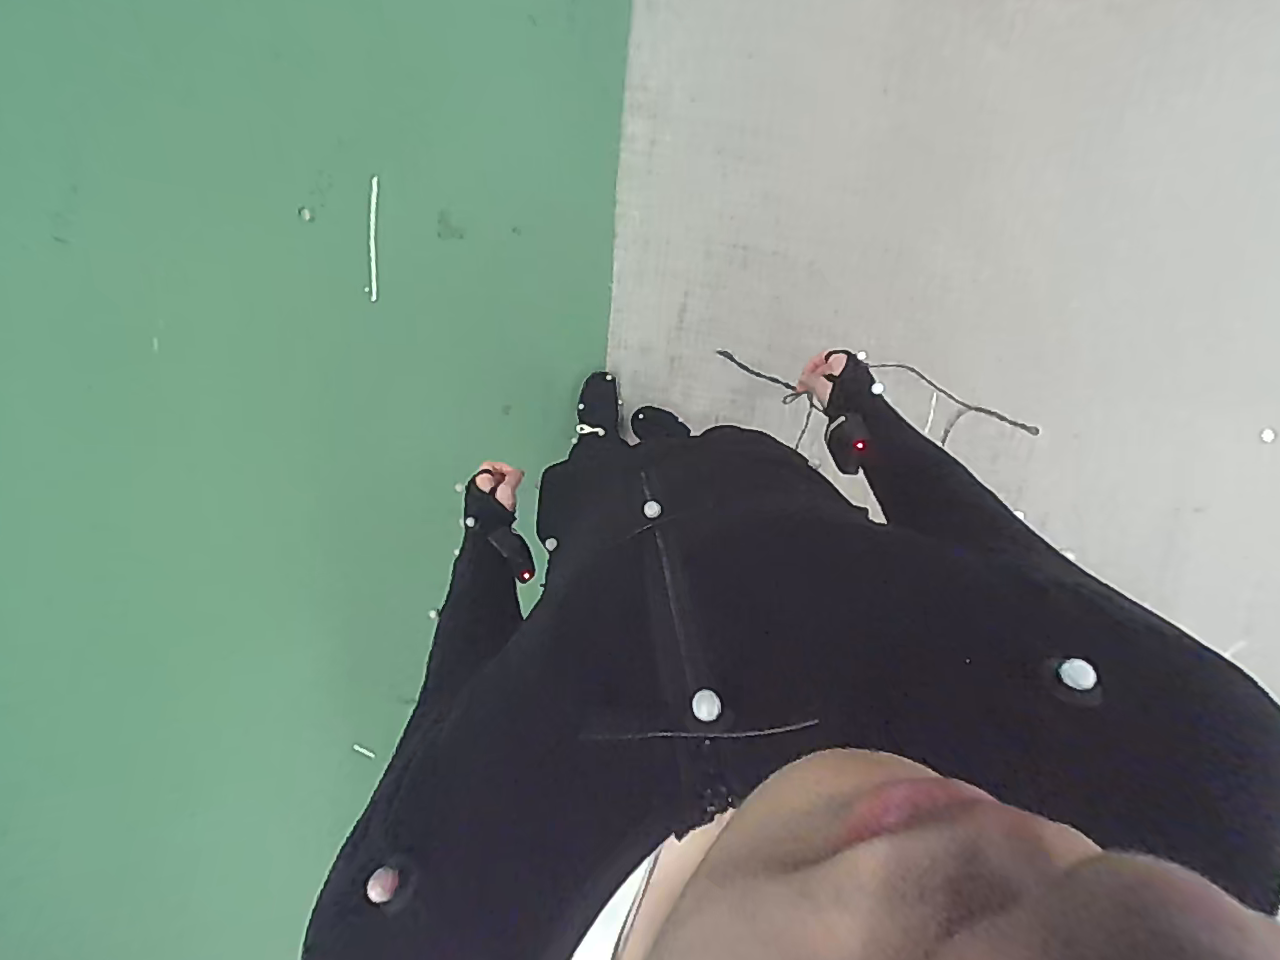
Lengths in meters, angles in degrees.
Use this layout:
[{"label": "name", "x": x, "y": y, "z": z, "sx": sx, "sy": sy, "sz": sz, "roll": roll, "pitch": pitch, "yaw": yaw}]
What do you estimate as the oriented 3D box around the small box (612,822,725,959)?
[{"label": "small box", "x": 0.042, "y": 0.750, "z": 0.957, "sx": 0.168, "sy": 0.176, "sz": 0.179, "roll": 6, "pitch": 101, "yaw": -5}]
